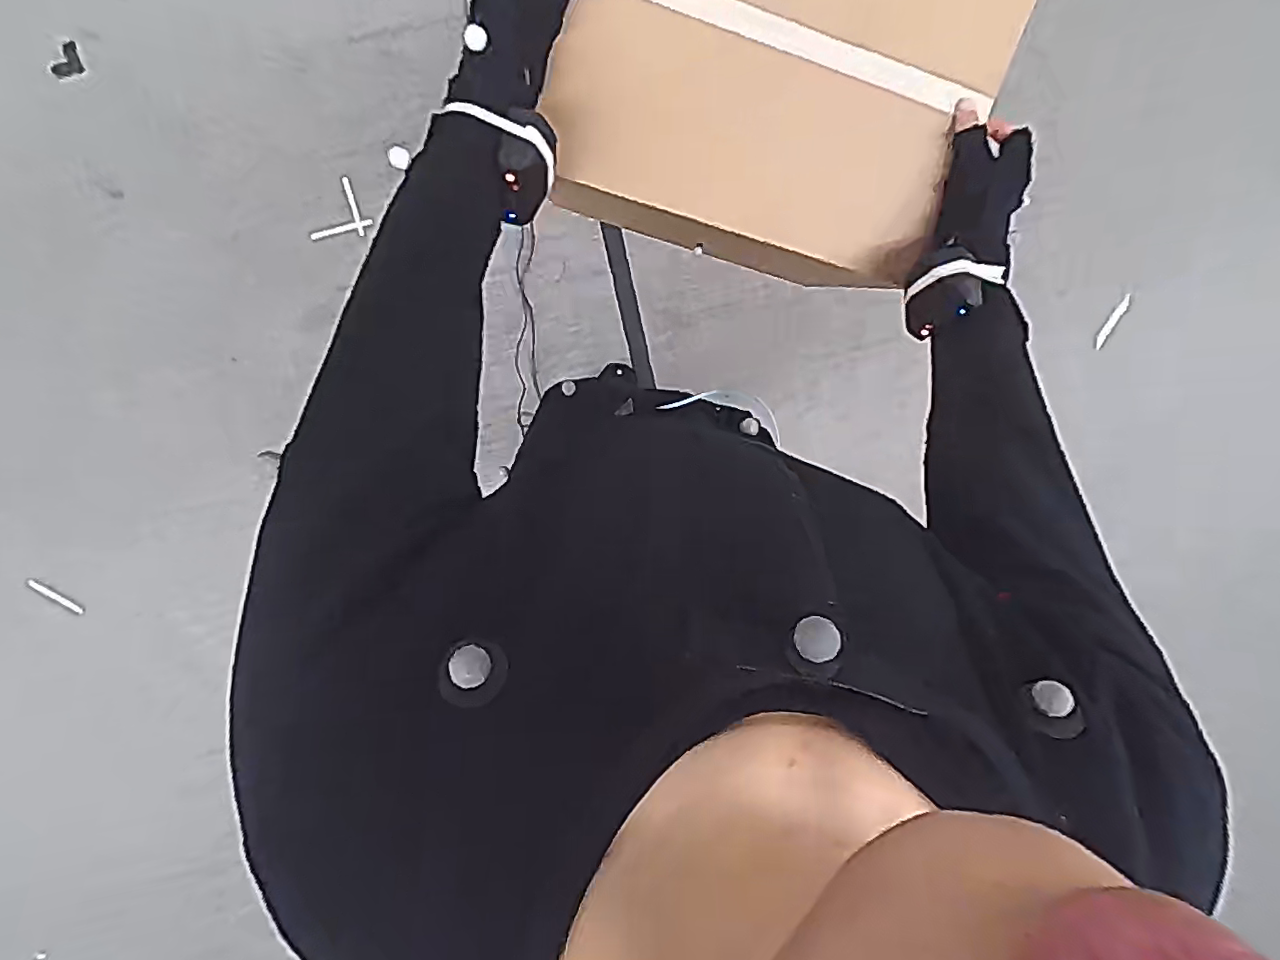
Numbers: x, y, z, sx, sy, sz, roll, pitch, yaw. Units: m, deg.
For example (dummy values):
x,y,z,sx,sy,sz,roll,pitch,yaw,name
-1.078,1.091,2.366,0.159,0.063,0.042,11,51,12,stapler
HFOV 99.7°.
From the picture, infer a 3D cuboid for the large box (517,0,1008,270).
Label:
x,y,z,sx,sy,sz,roll,pitch,yaw,name
0.107,-0.444,0.615,0.408,0.320,0.320,13,108,-8,large box
